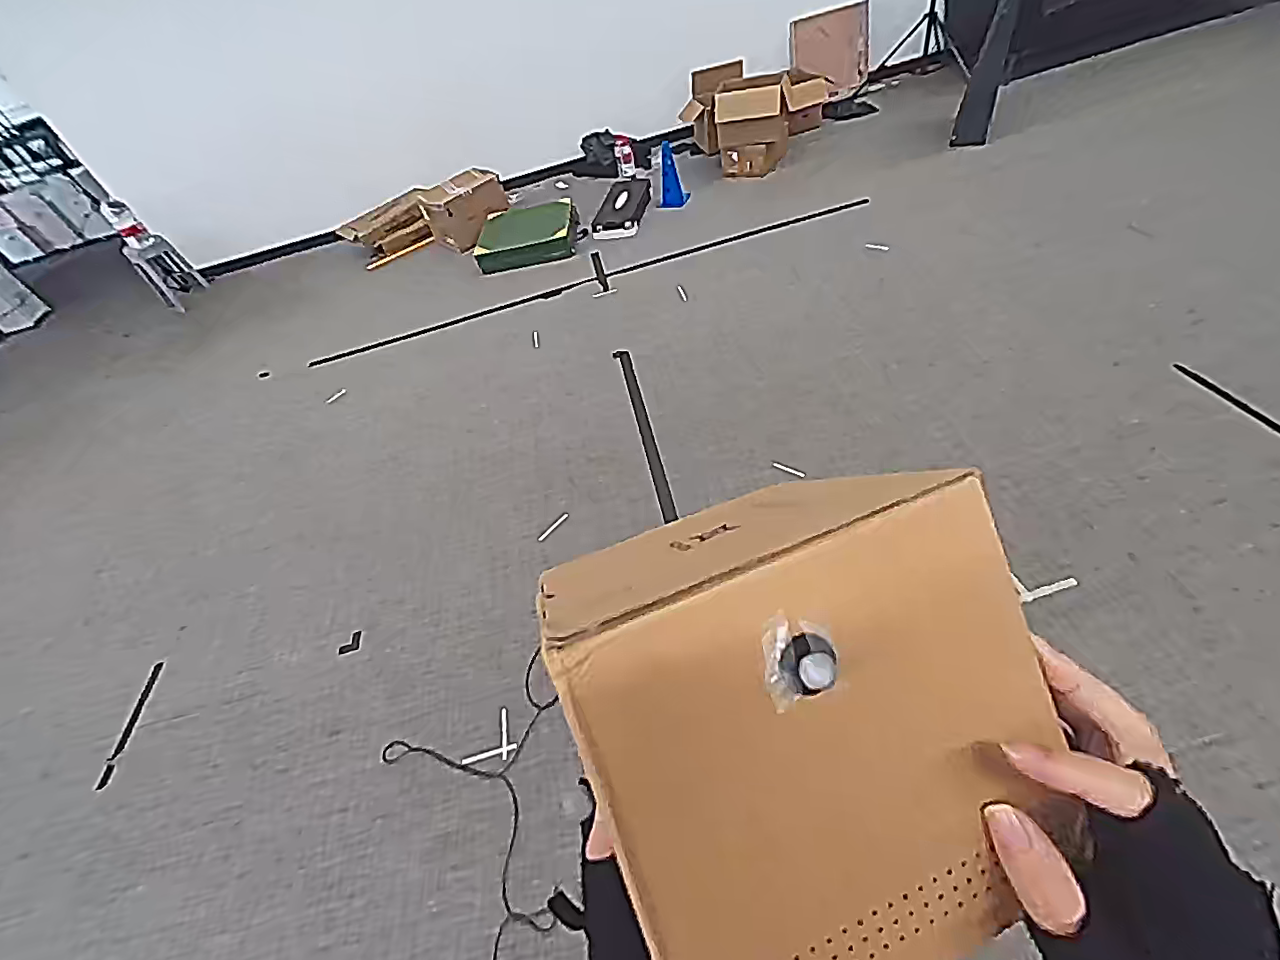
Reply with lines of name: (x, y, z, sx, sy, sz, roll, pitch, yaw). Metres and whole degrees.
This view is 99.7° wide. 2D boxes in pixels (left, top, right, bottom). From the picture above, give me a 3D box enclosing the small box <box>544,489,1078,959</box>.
small box: (0.063, 0.113, 0.271, 0.179, 0.168, 0.176, -19, 92, -11)
